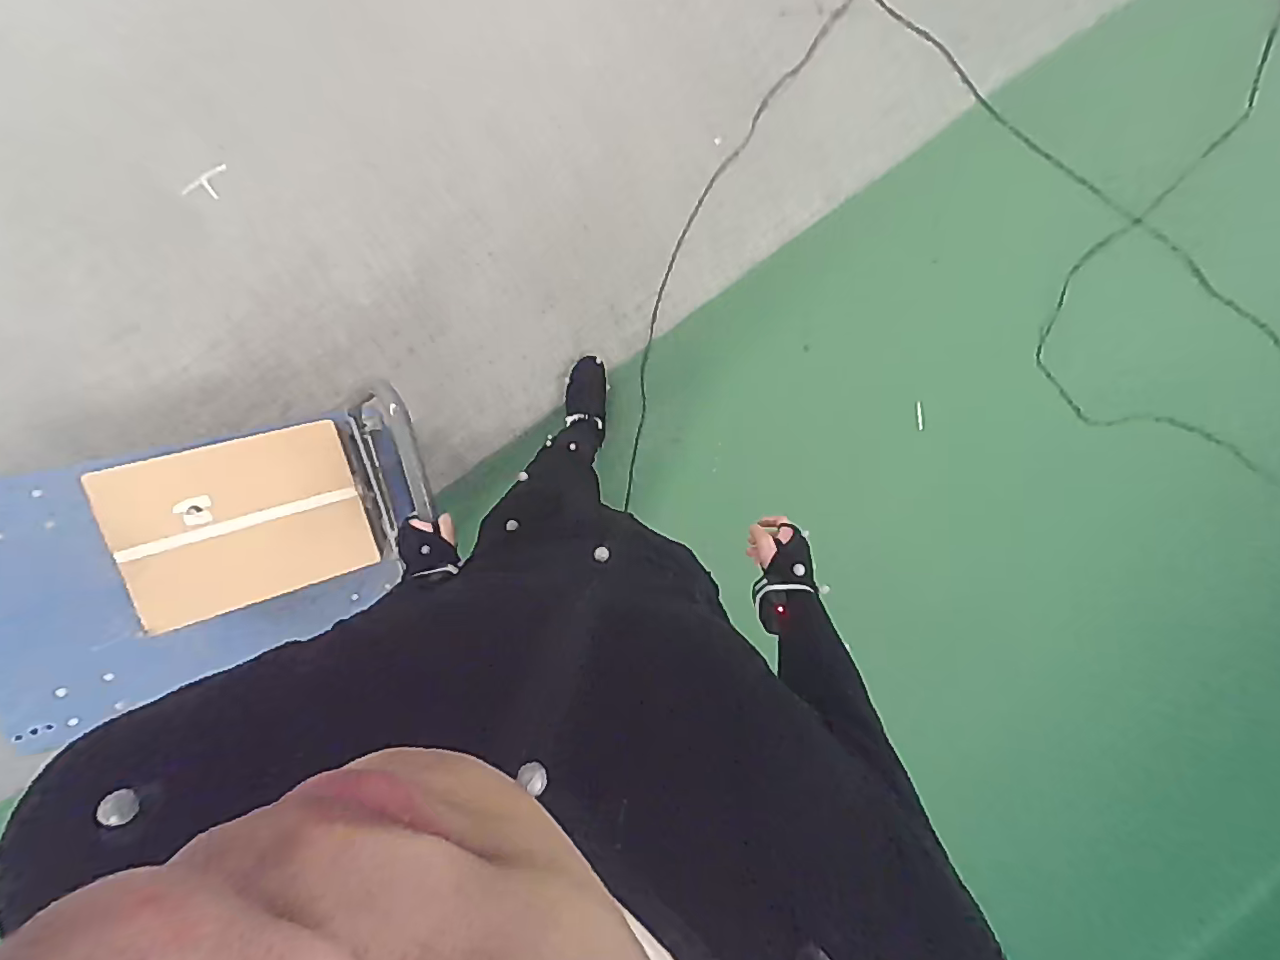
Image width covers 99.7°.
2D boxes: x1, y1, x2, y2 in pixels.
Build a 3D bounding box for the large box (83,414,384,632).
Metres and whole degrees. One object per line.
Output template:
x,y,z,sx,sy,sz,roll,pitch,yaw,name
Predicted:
-0.814,0.065,1.168,0.408,0.320,0.320,-19,99,-22,large box
